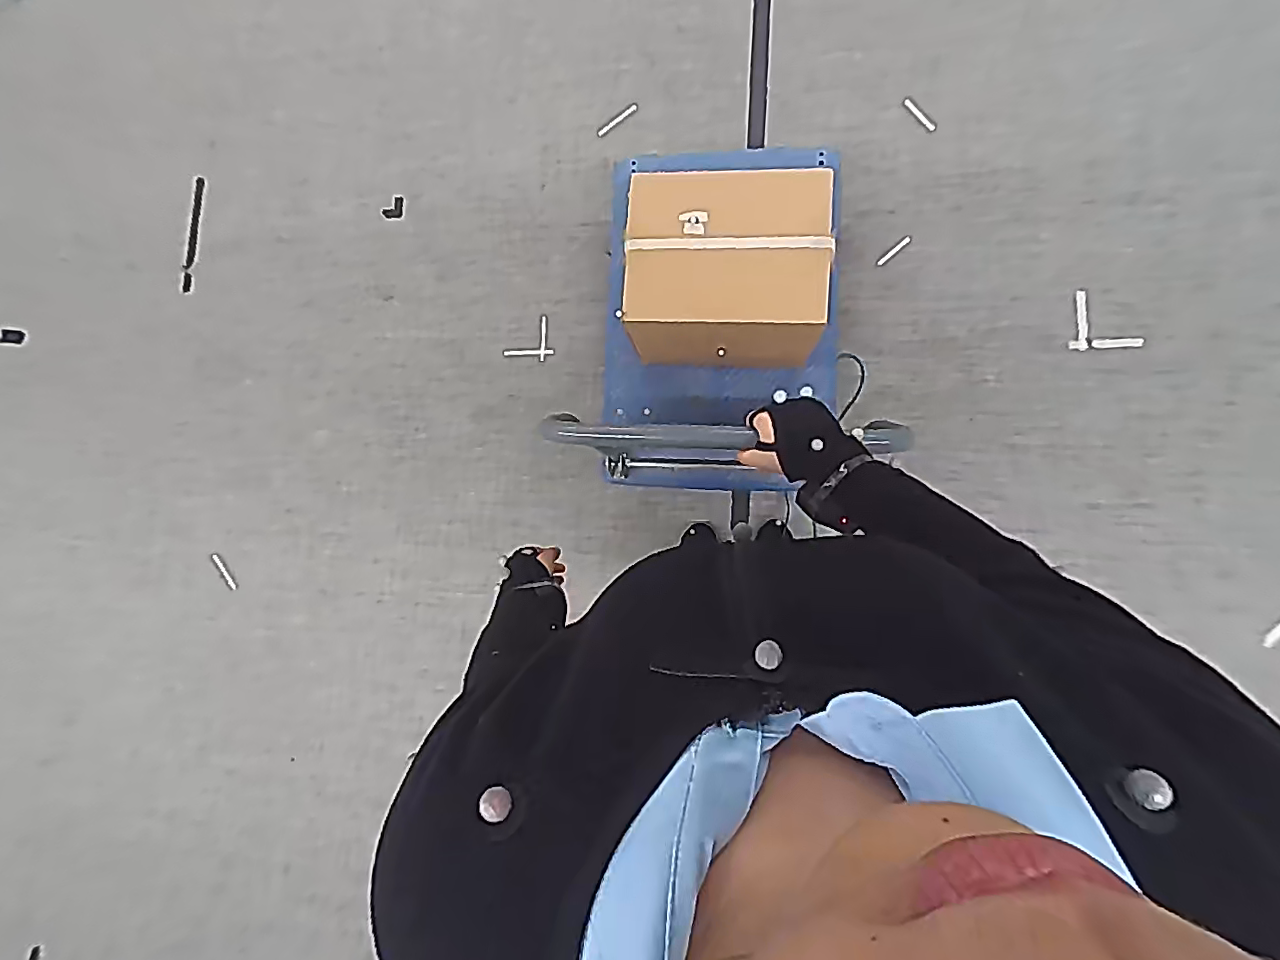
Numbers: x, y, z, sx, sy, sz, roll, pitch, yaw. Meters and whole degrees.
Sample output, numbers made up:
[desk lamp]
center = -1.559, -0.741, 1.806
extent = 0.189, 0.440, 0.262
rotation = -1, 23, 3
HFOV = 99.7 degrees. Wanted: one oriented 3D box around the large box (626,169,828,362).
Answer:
[large box]
center = 0.197, -0.460, 1.238
extent = 0.408, 0.320, 0.320
rotation = 2, 86, 9
